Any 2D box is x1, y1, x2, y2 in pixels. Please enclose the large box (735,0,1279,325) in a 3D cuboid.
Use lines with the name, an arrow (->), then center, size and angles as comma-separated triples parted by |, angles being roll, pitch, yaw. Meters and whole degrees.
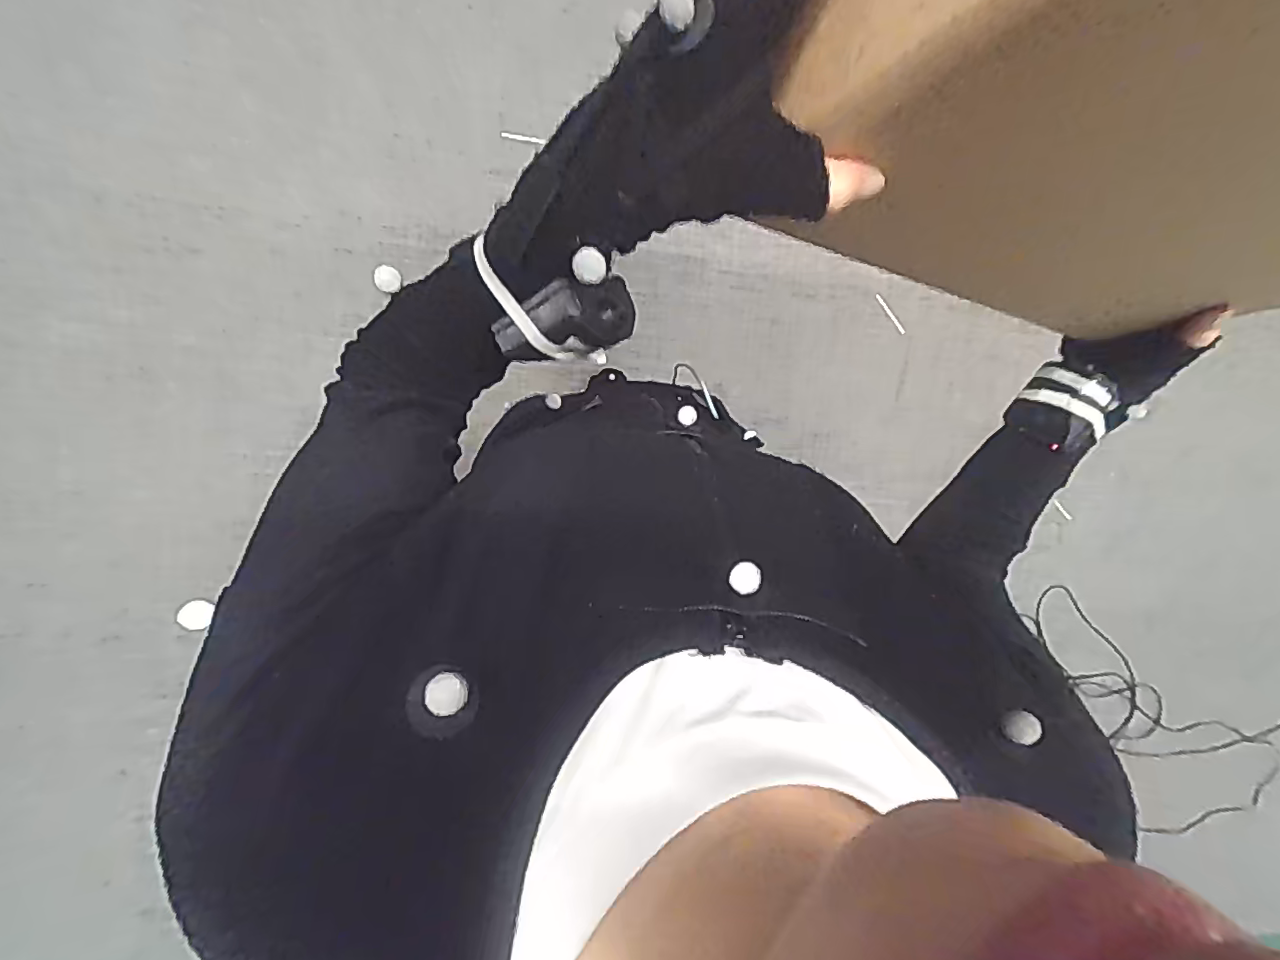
large box -> 0.291, -0.286, 0.240 | 0.408, 0.320, 0.320 | 2, 89, -30
